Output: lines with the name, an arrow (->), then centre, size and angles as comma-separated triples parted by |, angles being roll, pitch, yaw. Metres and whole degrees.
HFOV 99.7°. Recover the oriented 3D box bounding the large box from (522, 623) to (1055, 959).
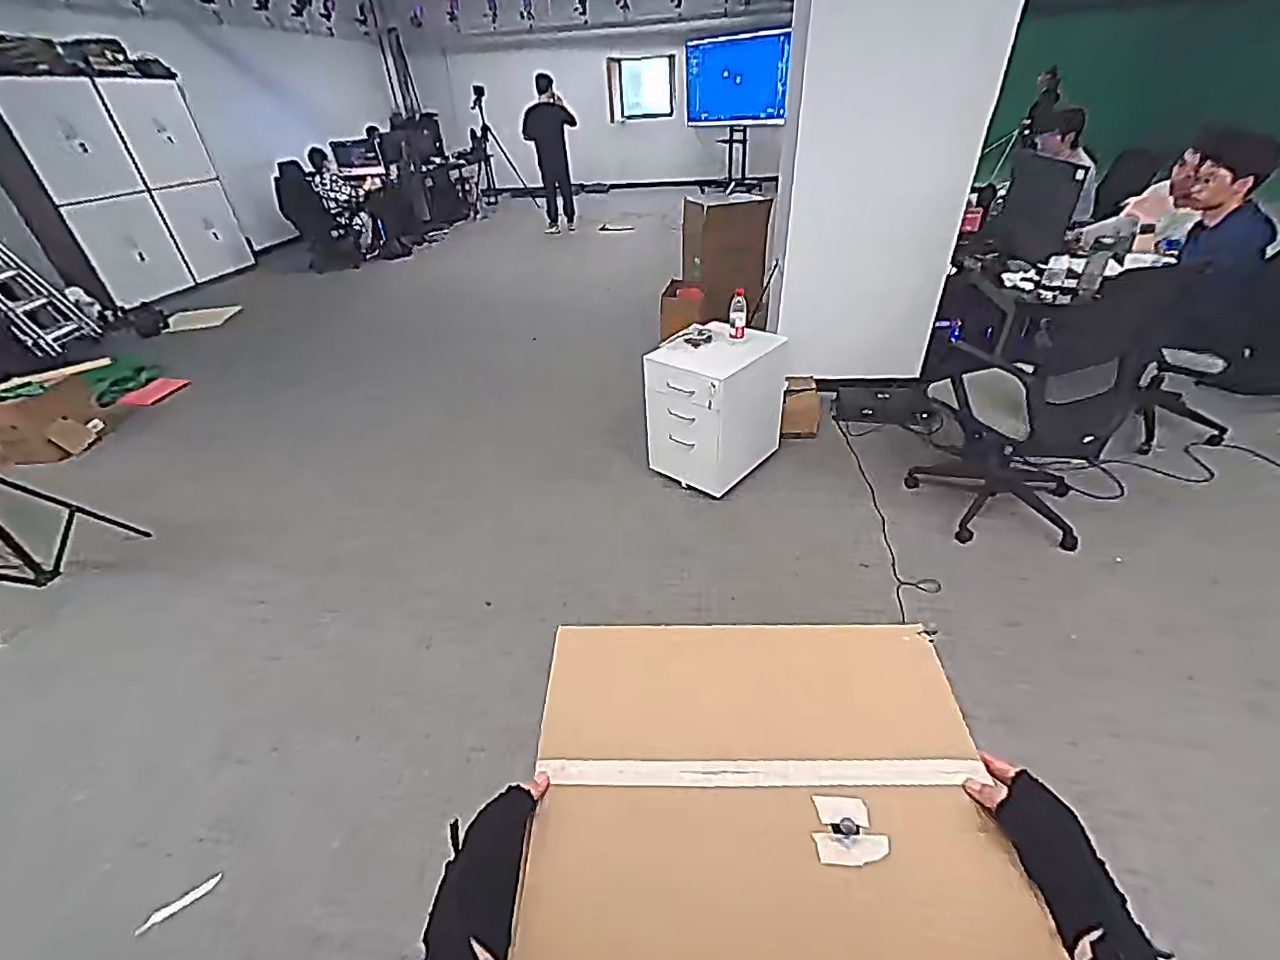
large box -> 0.114, 0.379, 0.604 | 0.408, 0.320, 0.320 | 0, 42, 3
